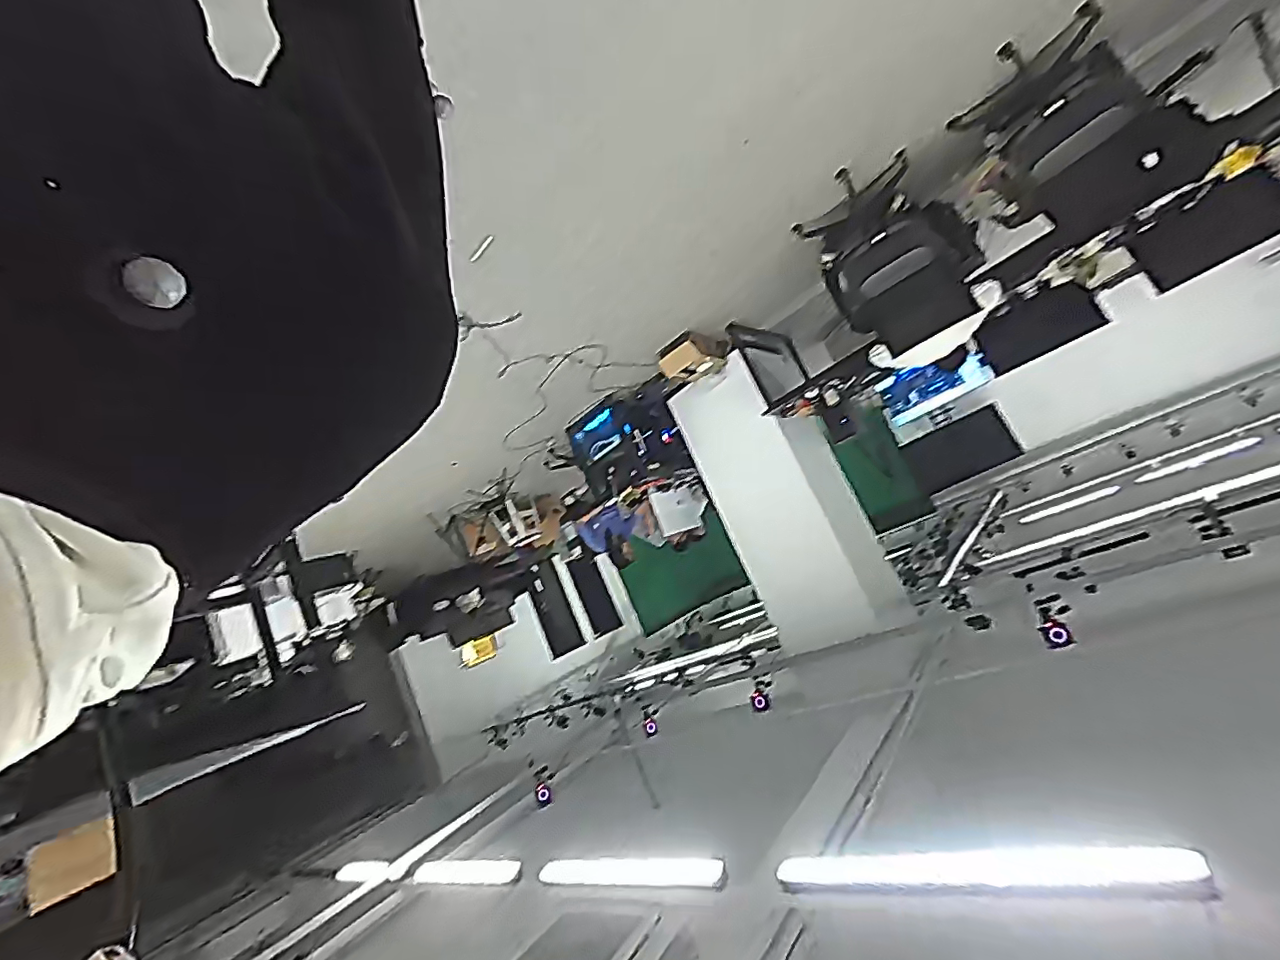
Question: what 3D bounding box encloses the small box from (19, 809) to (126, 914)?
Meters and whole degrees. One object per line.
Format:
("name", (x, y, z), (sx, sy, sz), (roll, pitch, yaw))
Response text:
("small box", (-1.558, 1.042, 1.482), (0.168, 0.176, 0.179), (-32, 168, 35))
